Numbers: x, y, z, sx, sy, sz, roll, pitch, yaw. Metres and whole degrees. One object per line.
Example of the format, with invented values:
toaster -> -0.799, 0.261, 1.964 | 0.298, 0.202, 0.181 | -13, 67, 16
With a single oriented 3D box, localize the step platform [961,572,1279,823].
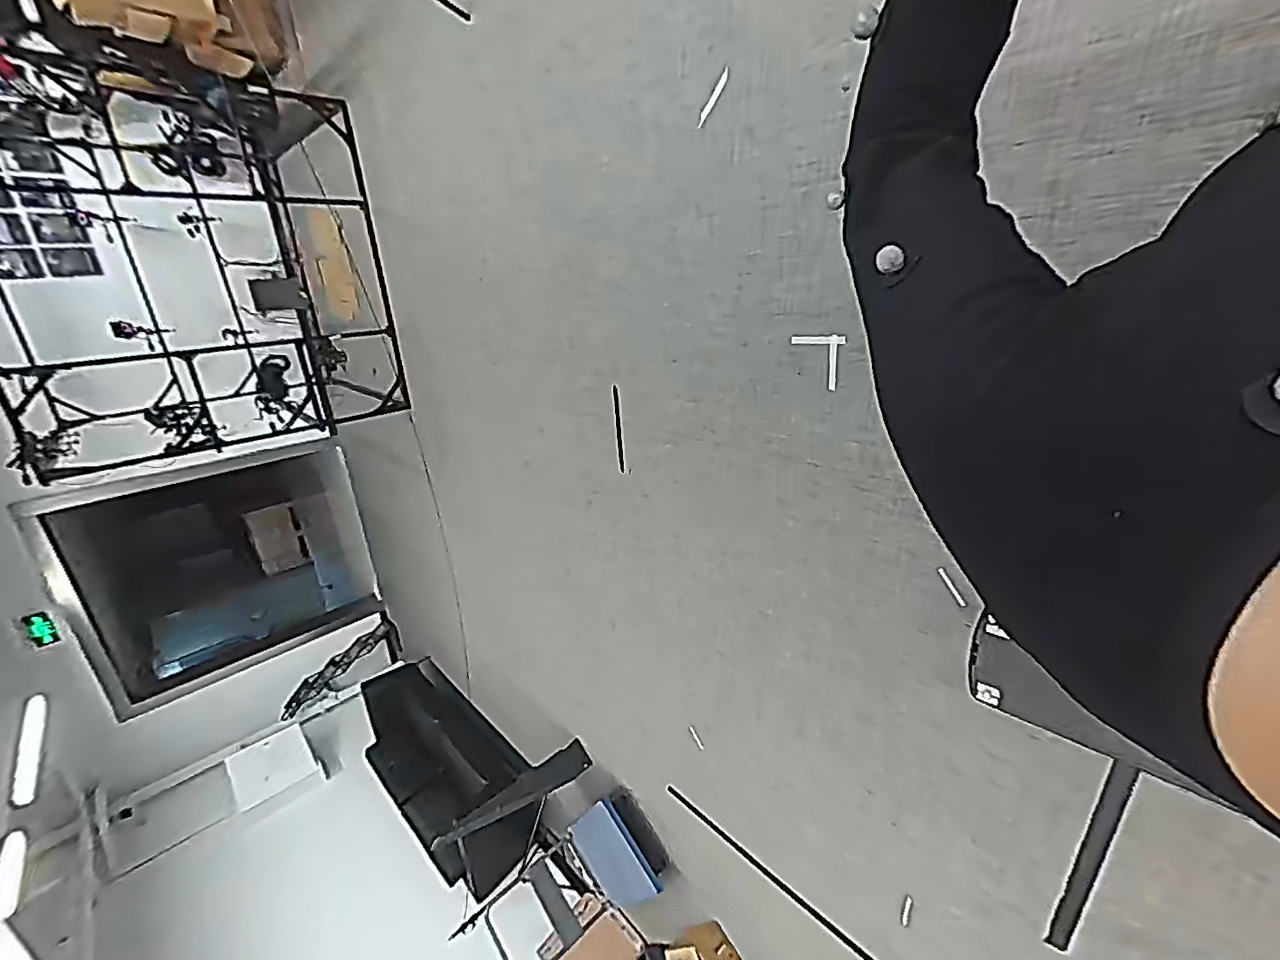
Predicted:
step platform -> 1.095, 0.448, 1.175 | 0.684, 0.204, 0.286 | 16, 118, 46
